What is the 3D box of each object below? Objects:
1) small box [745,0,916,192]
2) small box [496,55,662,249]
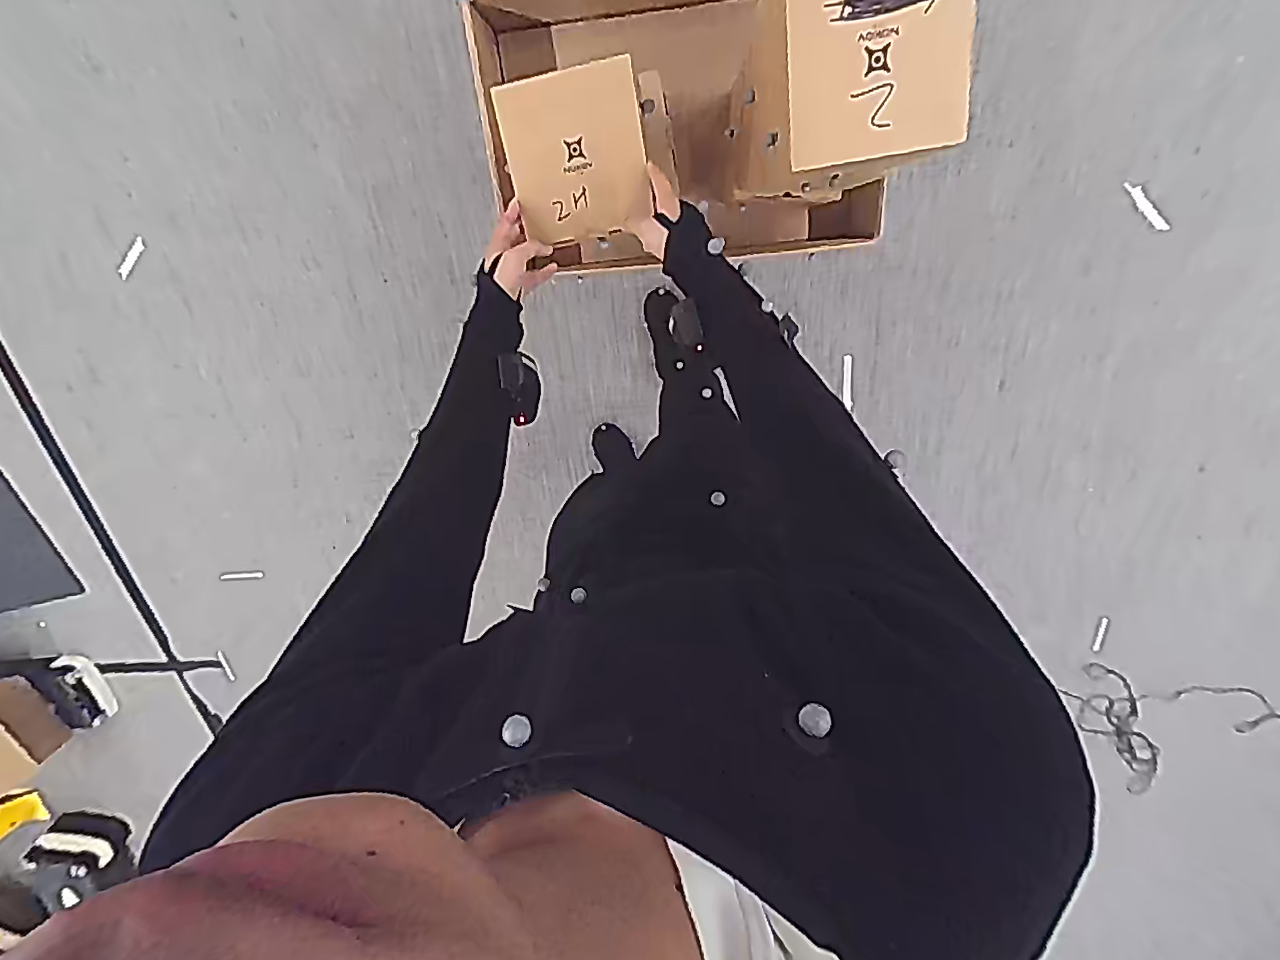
[{"bbox_3d":[0.232,-0.488,0.709,0.168,0.176,0.179,-1,113,3],"label":"small box"},{"bbox_3d":[-0.065,-0.410,0.706,0.168,0.176,0.179,-8,115,8],"label":"small box"}]
